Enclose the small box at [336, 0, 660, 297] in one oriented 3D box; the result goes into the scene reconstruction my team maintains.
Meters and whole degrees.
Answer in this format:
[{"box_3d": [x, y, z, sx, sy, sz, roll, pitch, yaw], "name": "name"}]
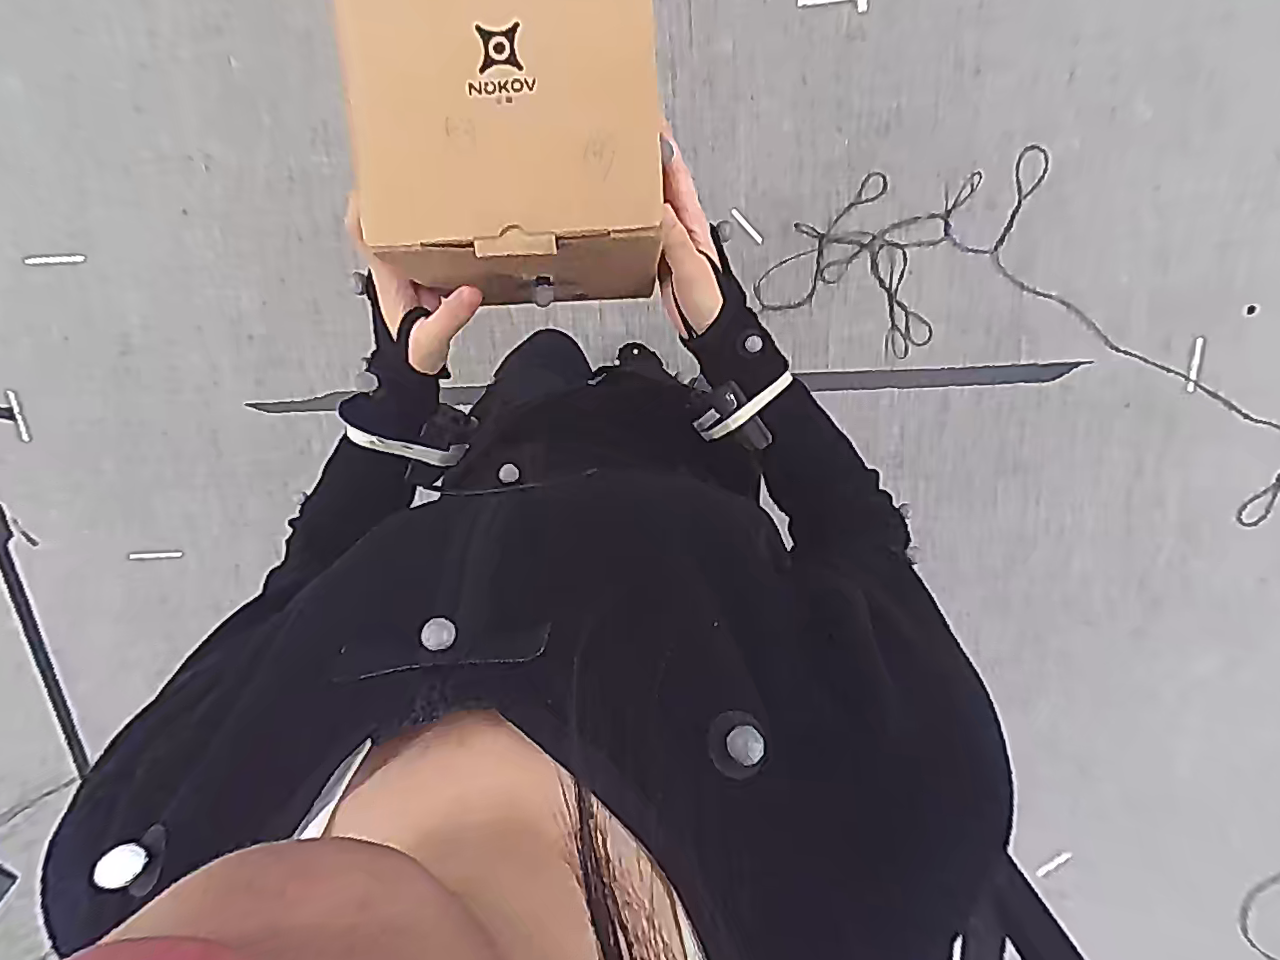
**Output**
[{"box_3d": [-0.072, -0.225, 0.362, 0.168, 0.176, 0.179, -3, 98, 0], "name": "small box"}]
